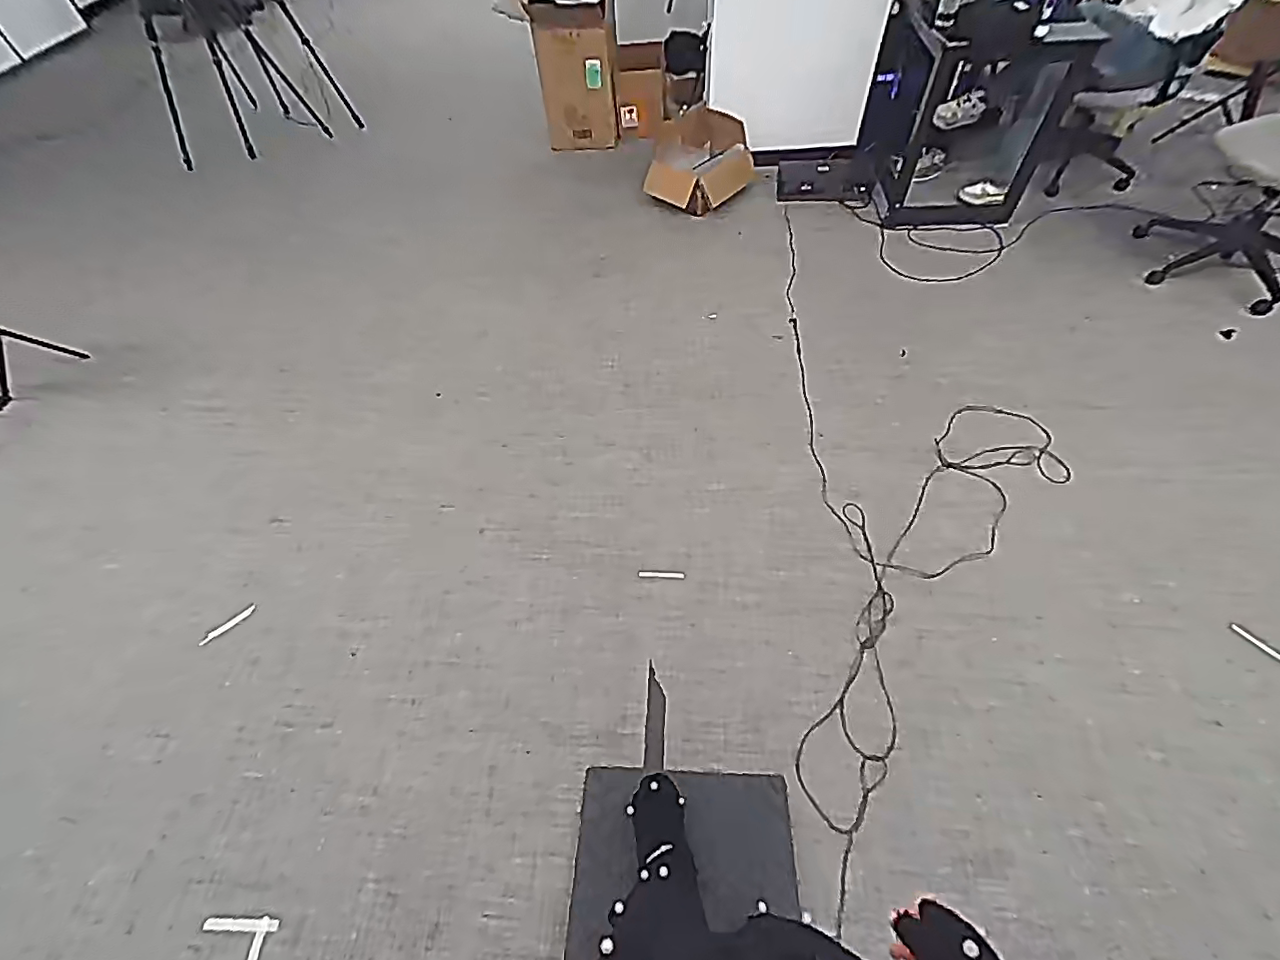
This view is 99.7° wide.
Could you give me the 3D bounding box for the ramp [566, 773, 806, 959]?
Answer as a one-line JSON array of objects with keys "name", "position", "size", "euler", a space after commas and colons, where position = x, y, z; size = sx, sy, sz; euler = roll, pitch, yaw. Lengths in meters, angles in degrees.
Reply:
[{"name": "ramp", "position": [0.082, 1.085, 0.985], "size": [0.509, 0.206, 0.991], "euler": [-2, 54, 4]}]
